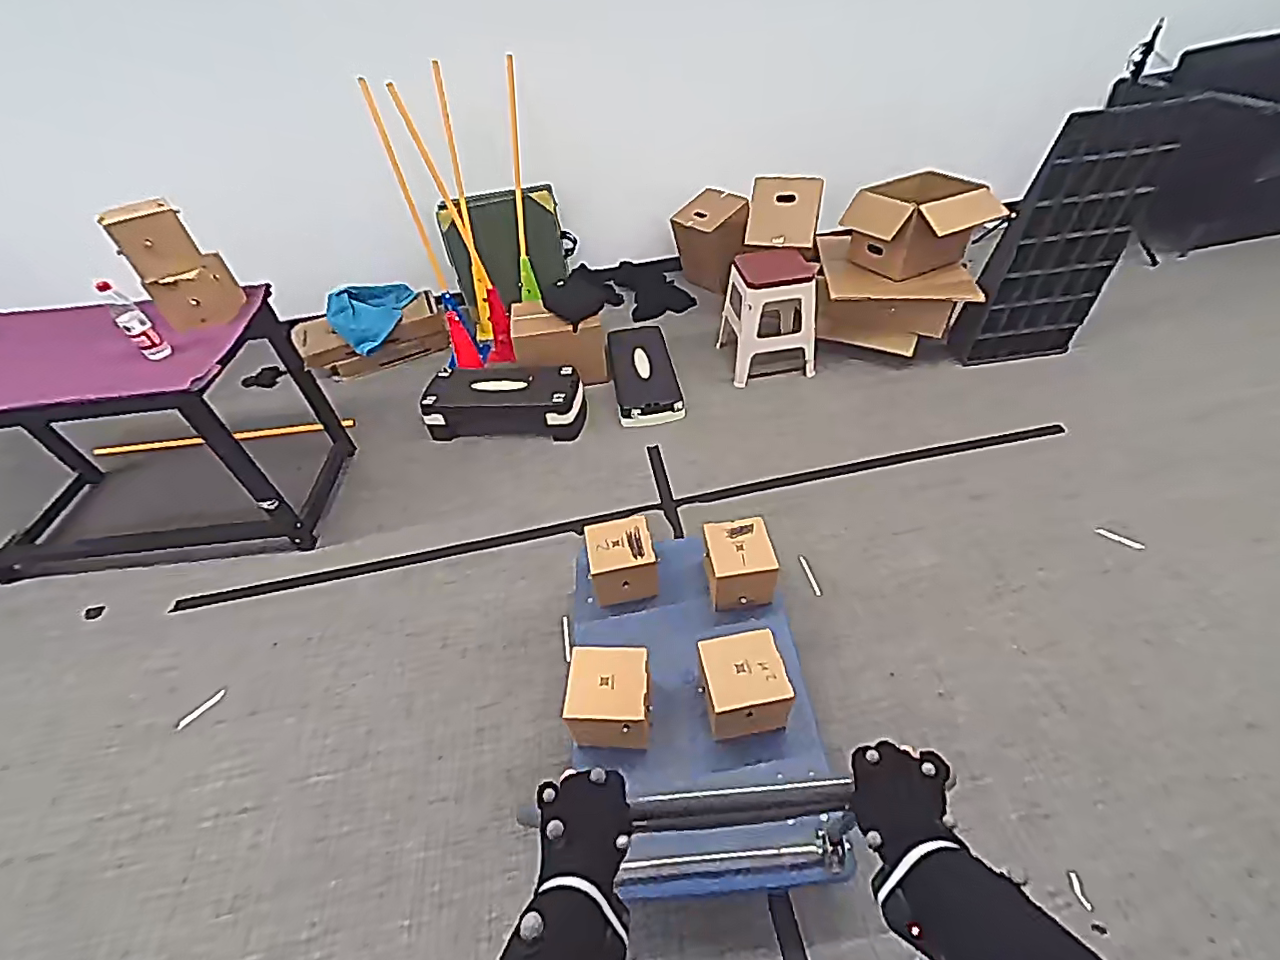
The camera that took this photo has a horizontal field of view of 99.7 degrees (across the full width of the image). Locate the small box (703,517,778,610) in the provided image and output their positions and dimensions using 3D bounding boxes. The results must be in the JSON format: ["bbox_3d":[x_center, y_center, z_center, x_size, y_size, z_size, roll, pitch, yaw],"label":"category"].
[{"bbox_3d":[0.266,0.229,1.475,0.168,0.176,0.179,-8,46,-1],"label":"small box"}]

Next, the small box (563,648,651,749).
[{"bbox_3d":[-0.068,0.504,1.242,0.179,0.176,0.168,0,45,4],"label":"small box"}]

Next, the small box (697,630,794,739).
[{"bbox_3d":[0.235,0.472,1.240,0.179,0.176,0.168,-10,46,-3],"label":"small box"}]
